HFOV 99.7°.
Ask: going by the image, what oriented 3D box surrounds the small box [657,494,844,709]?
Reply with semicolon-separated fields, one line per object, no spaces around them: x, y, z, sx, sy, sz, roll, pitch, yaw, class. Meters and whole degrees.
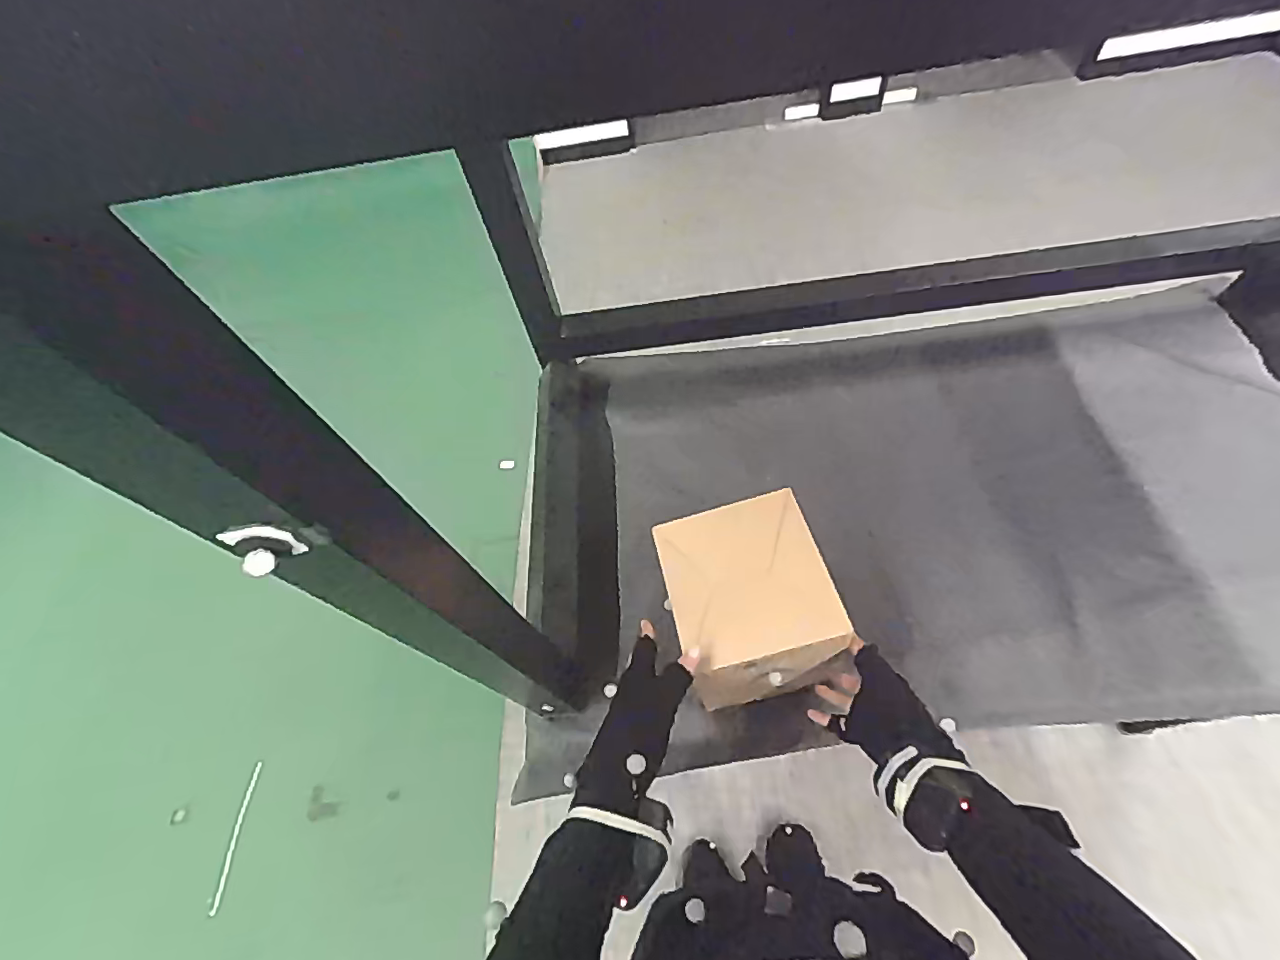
0.123;0.142;0.631;0.168;0.176;0.179;-16;54;3;small box
